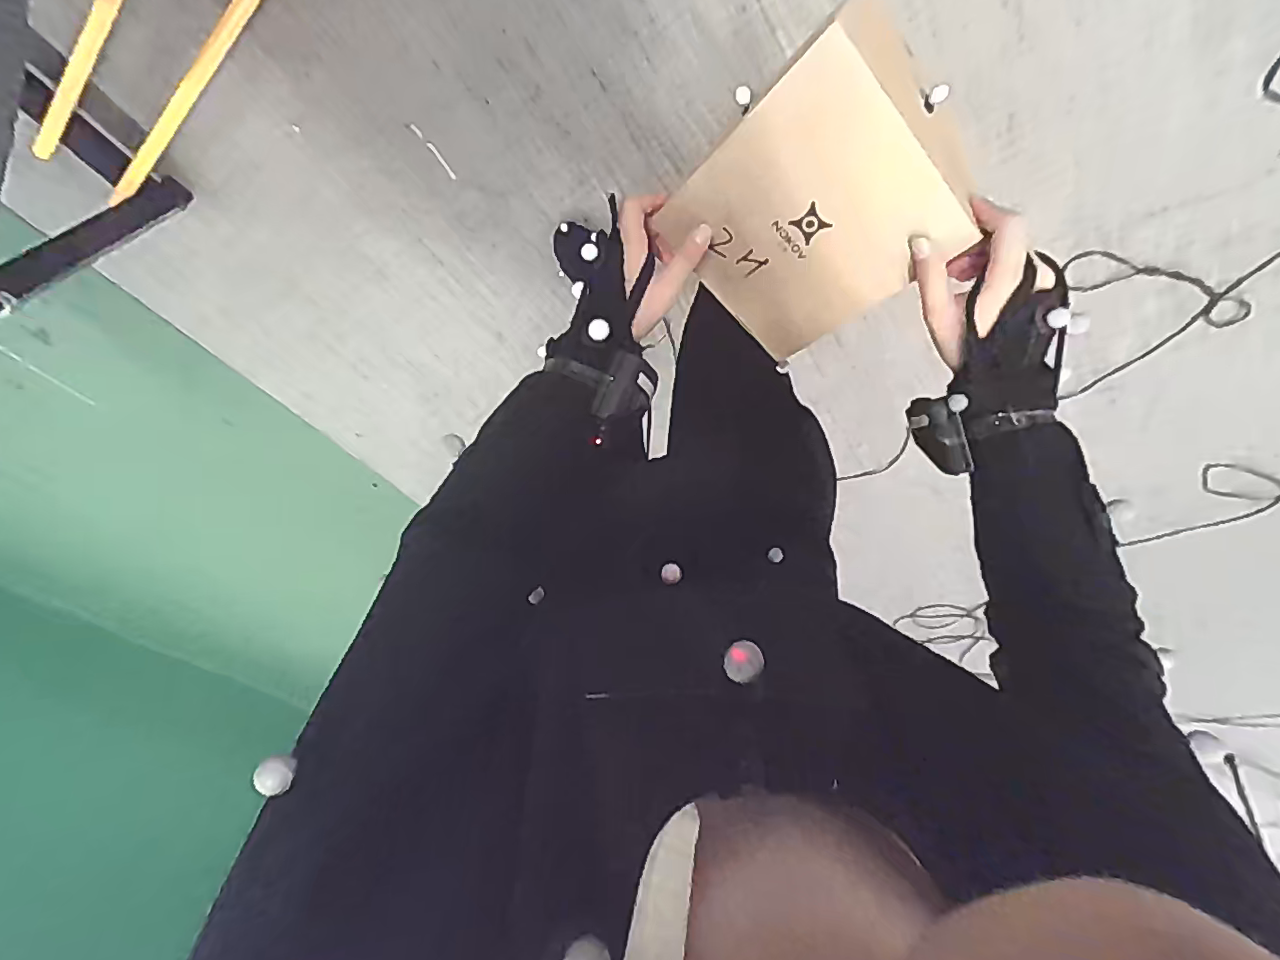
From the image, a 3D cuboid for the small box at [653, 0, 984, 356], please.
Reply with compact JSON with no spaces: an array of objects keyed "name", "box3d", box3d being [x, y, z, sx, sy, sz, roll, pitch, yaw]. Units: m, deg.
[{"name":"small box","box3d":[0.144,-0.244,0.438,0.168,0.176,0.179,41,141,-18]}]
